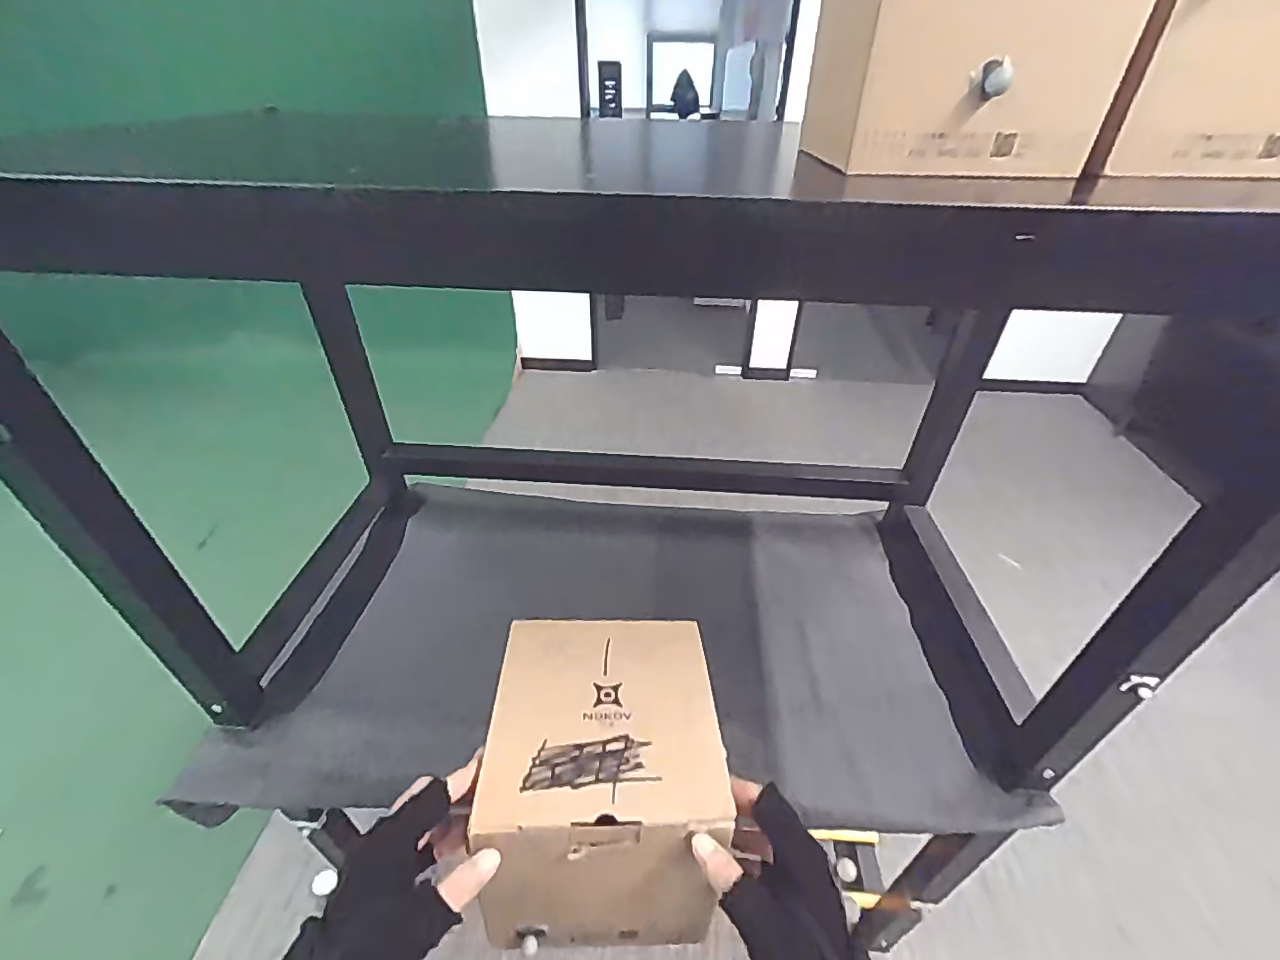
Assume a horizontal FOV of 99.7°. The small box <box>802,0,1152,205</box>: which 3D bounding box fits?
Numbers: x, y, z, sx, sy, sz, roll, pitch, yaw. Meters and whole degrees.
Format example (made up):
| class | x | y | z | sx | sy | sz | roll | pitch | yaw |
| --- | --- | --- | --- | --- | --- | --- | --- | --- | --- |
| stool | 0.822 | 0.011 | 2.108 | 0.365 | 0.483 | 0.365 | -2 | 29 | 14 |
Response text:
| class | x | y | z | sx | sy | sz | roll | pitch | yaw |
| --- | --- | --- | --- | --- | --- | --- | --- | --- | --- |
| small box | 0.232 | -0.321 | 0.414 | 0.168 | 0.176 | 0.179 | 2 | 37 | 2 |
